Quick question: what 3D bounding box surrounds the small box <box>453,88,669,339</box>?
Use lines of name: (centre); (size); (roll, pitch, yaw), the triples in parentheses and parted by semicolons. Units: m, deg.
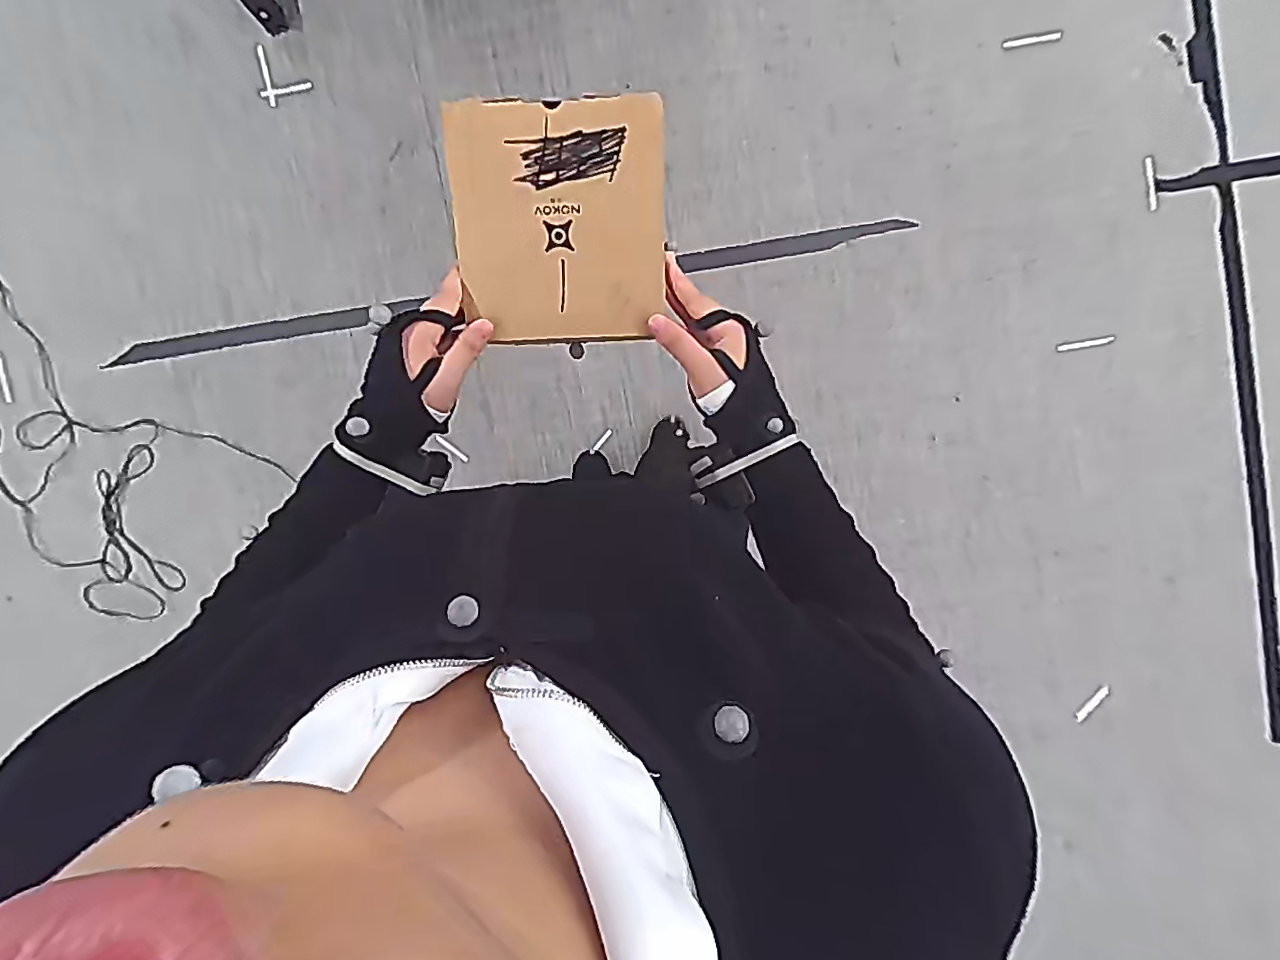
small box: (-0.060, -0.226, 0.504); (0.168, 0.176, 0.179); (-2, 103, 1)
